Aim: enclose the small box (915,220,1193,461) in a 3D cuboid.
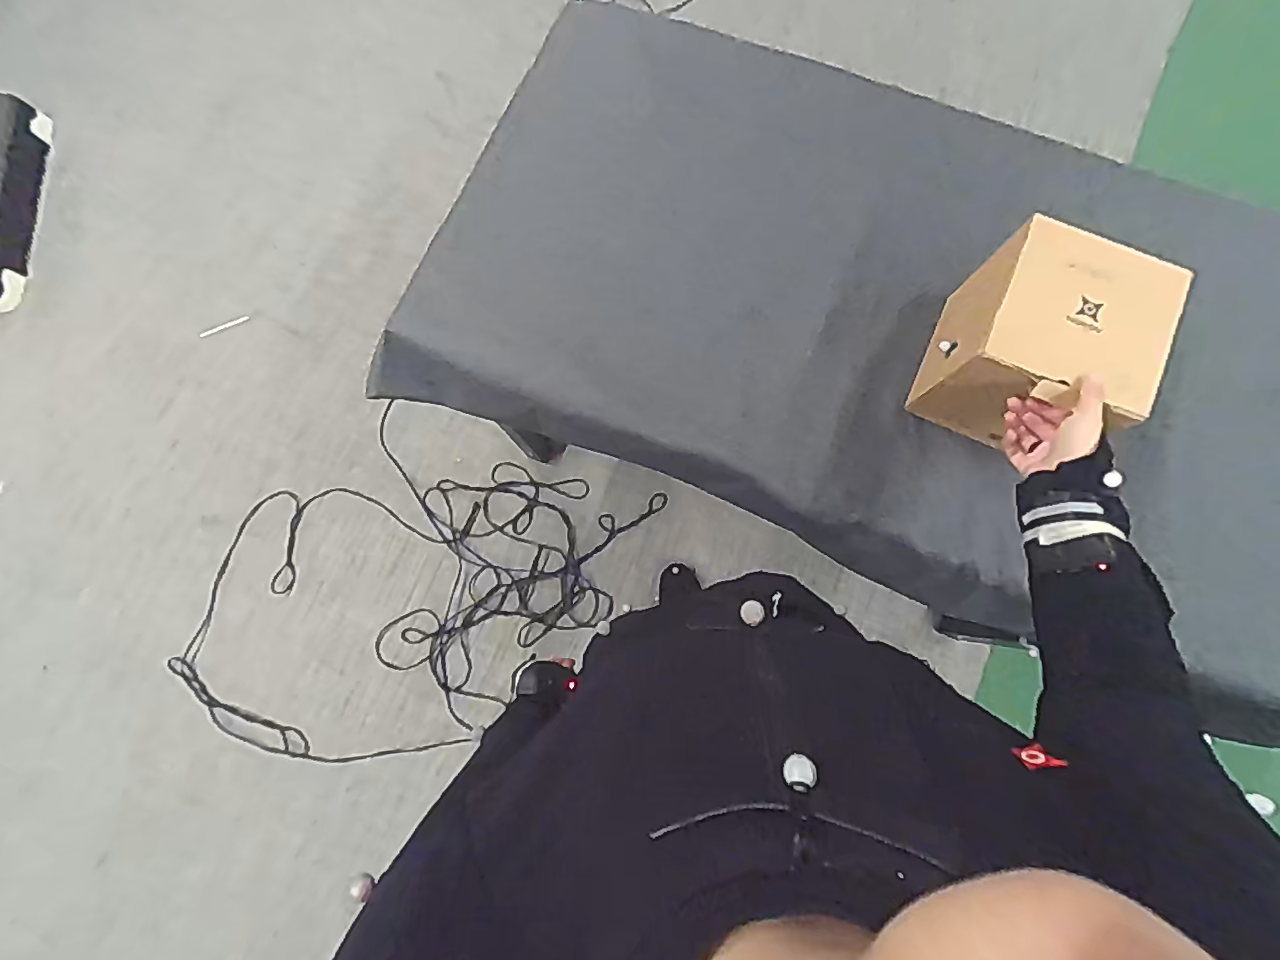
[{"bbox_3d":[0.443,-0.142,0.609,0.168,0.176,0.179,24,78,6],"label":"small box"}]
